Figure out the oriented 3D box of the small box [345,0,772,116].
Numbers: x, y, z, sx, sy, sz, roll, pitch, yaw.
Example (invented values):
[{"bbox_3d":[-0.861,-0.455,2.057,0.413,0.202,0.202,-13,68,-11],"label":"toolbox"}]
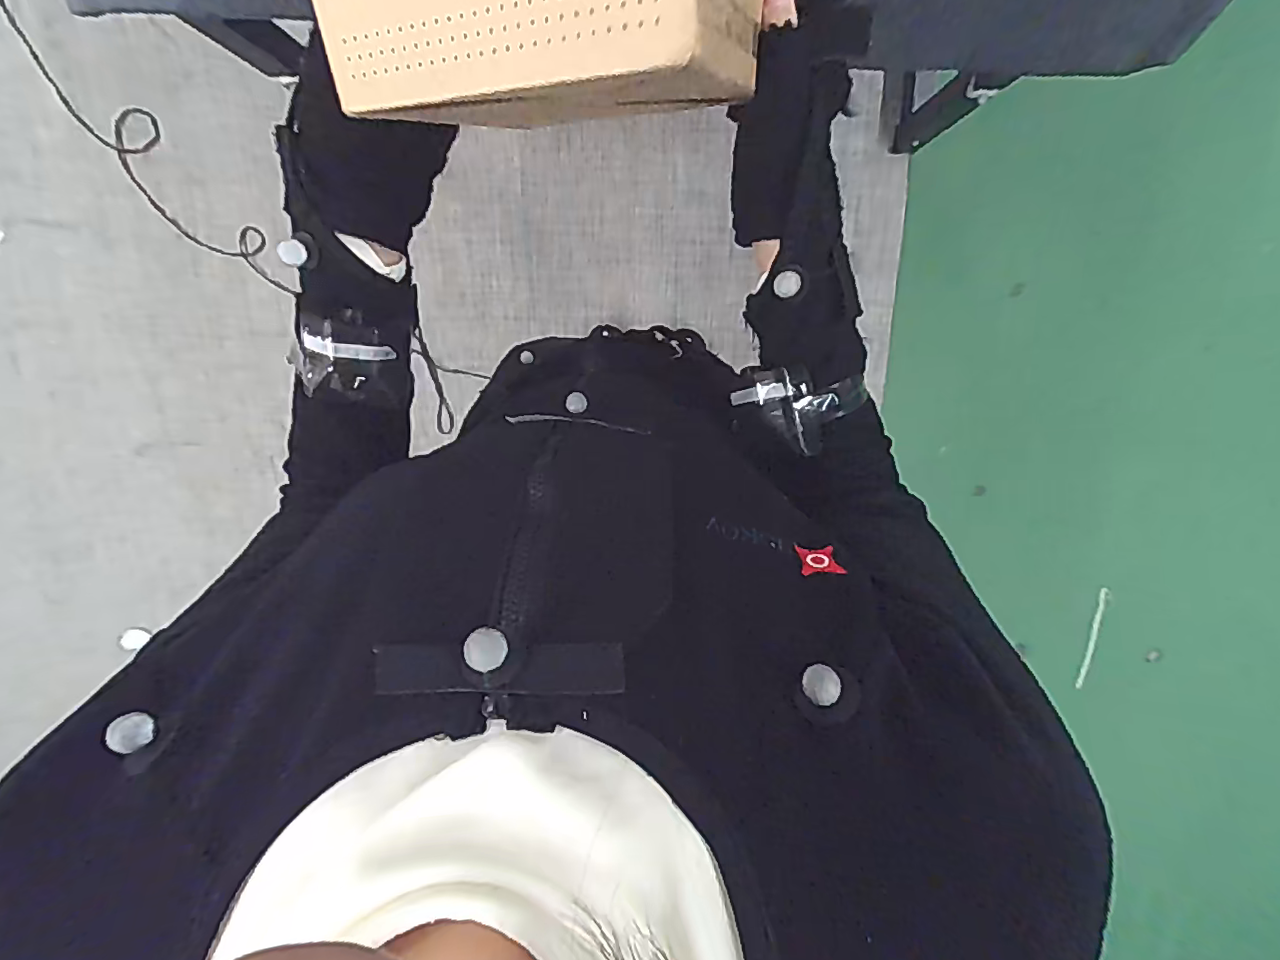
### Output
[{"bbox_3d":[-0.035,-0.284,0.260,0.179,0.168,0.176,8,121,20],"label":"small box"}]
